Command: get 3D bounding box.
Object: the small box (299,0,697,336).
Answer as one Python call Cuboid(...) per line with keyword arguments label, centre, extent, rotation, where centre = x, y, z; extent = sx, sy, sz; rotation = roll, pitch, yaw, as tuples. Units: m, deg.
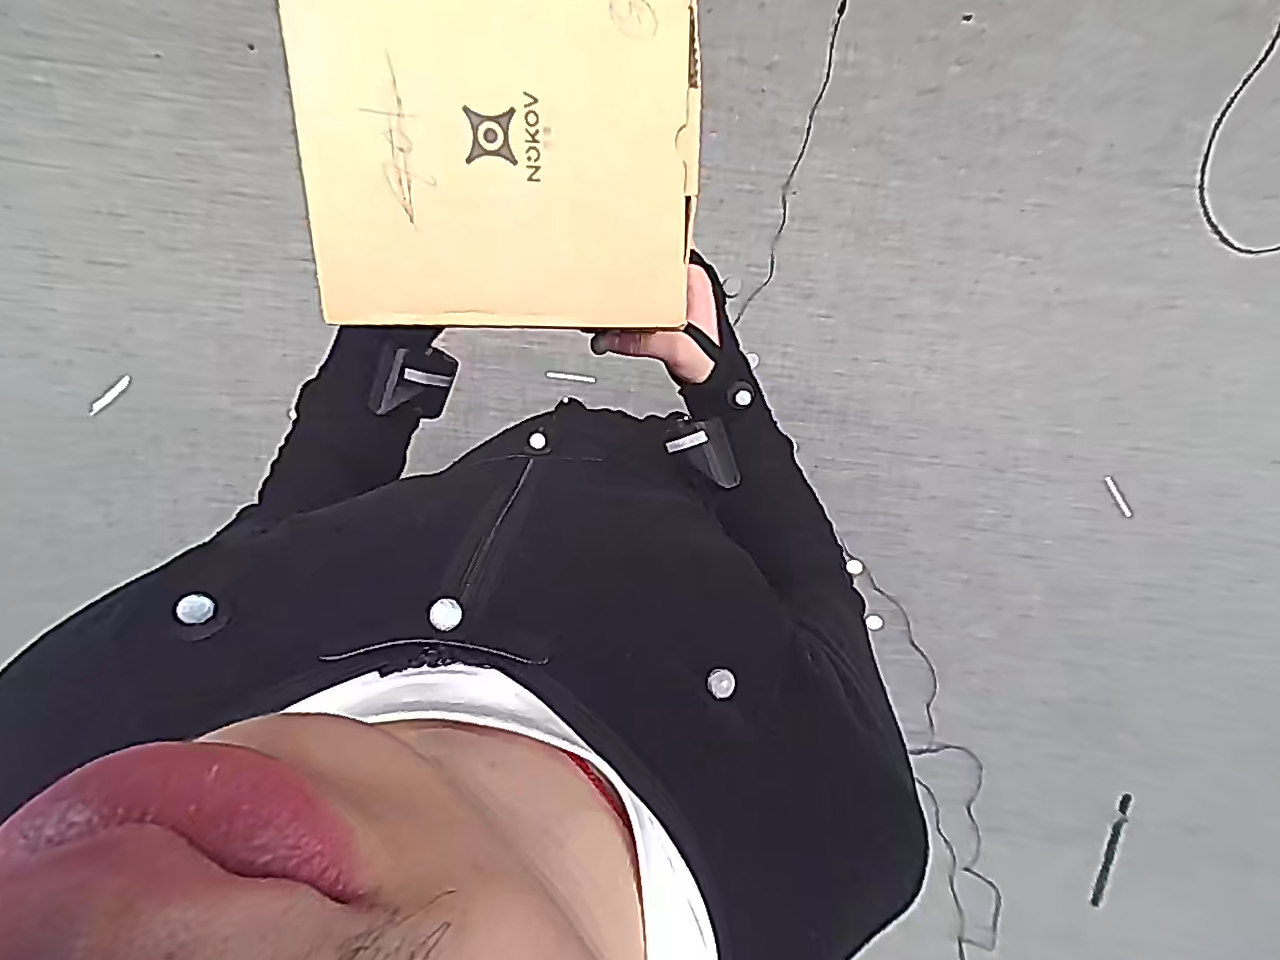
Cuboid(label="small box", centre=(-0.067, -0.176, 0.331), extent=(0.179, 0.176, 0.168), rotation=(-1, 104, -3))
